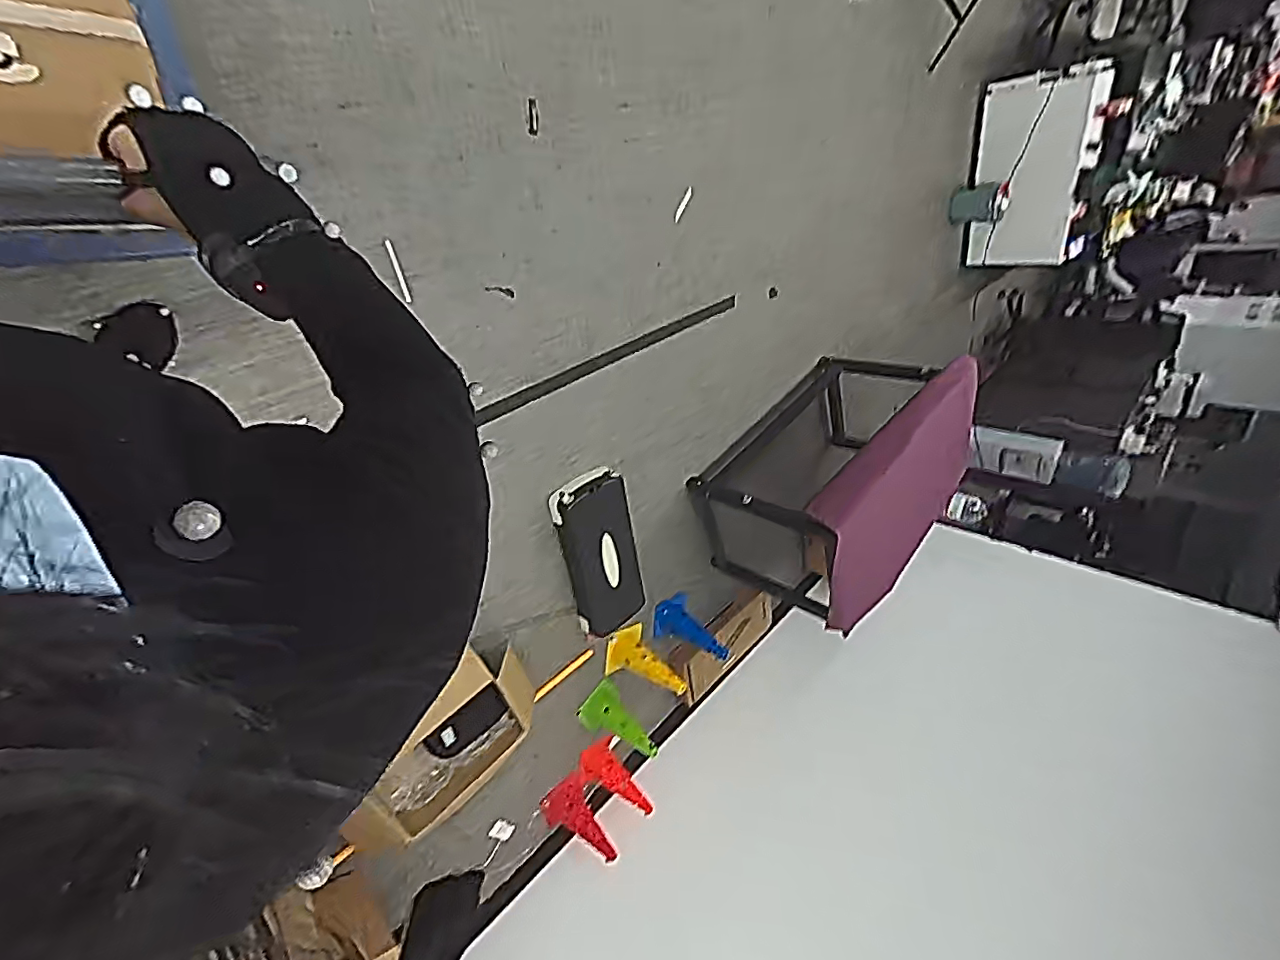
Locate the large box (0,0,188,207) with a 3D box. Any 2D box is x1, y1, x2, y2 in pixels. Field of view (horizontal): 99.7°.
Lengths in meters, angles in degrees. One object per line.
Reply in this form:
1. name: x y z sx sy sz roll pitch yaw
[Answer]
1. large box: -0.859 -0.509 0.643 0.408 0.320 0.320 -23 121 -39
